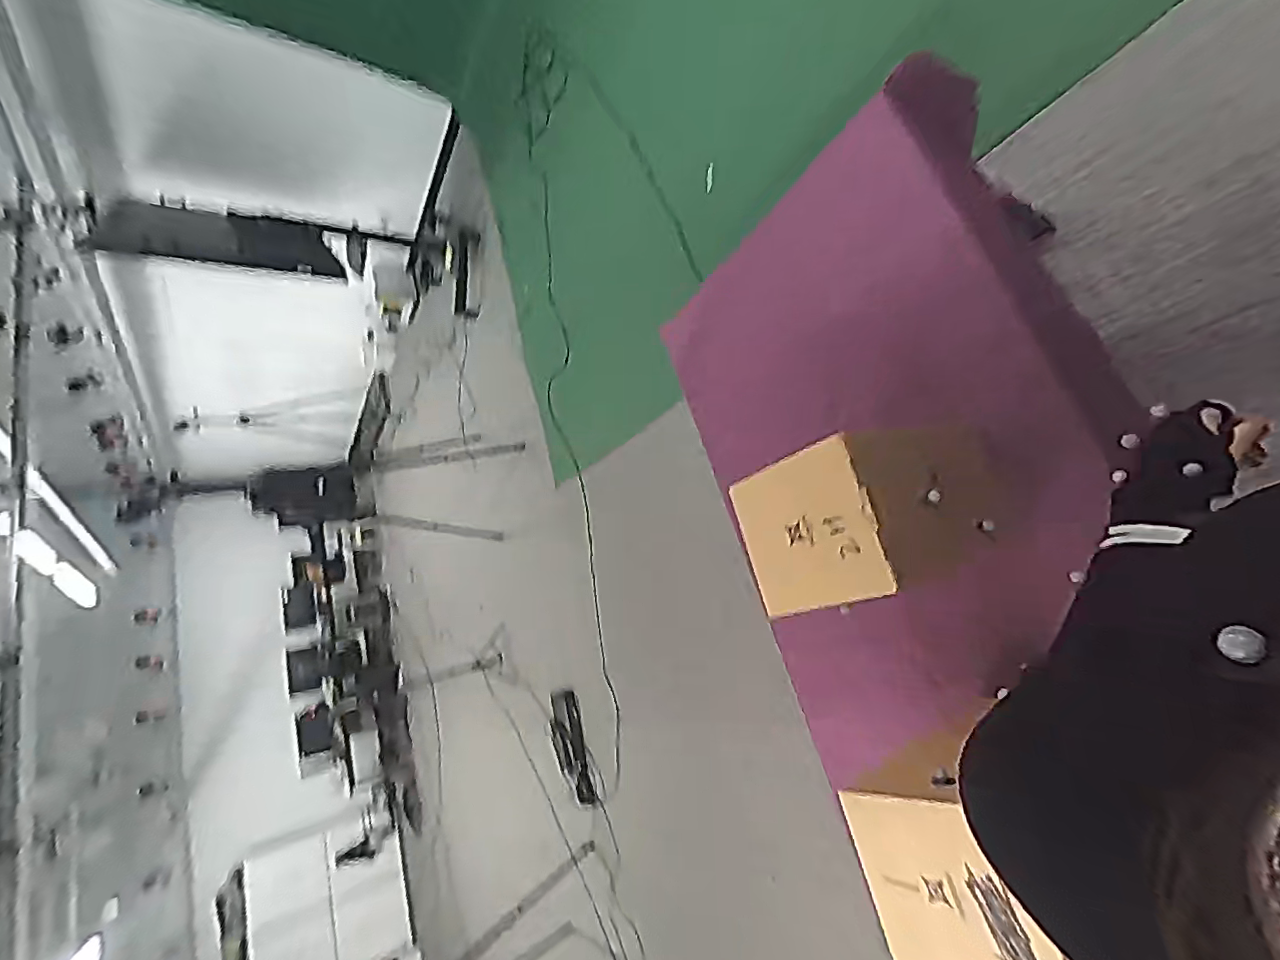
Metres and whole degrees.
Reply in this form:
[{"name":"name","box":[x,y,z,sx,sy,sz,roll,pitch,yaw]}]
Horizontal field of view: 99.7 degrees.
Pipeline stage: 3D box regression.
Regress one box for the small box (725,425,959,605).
[{"name":"small box","box":[0.239,0.042,0.652,0.179,0.176,0.168,-31,71,50]}]
